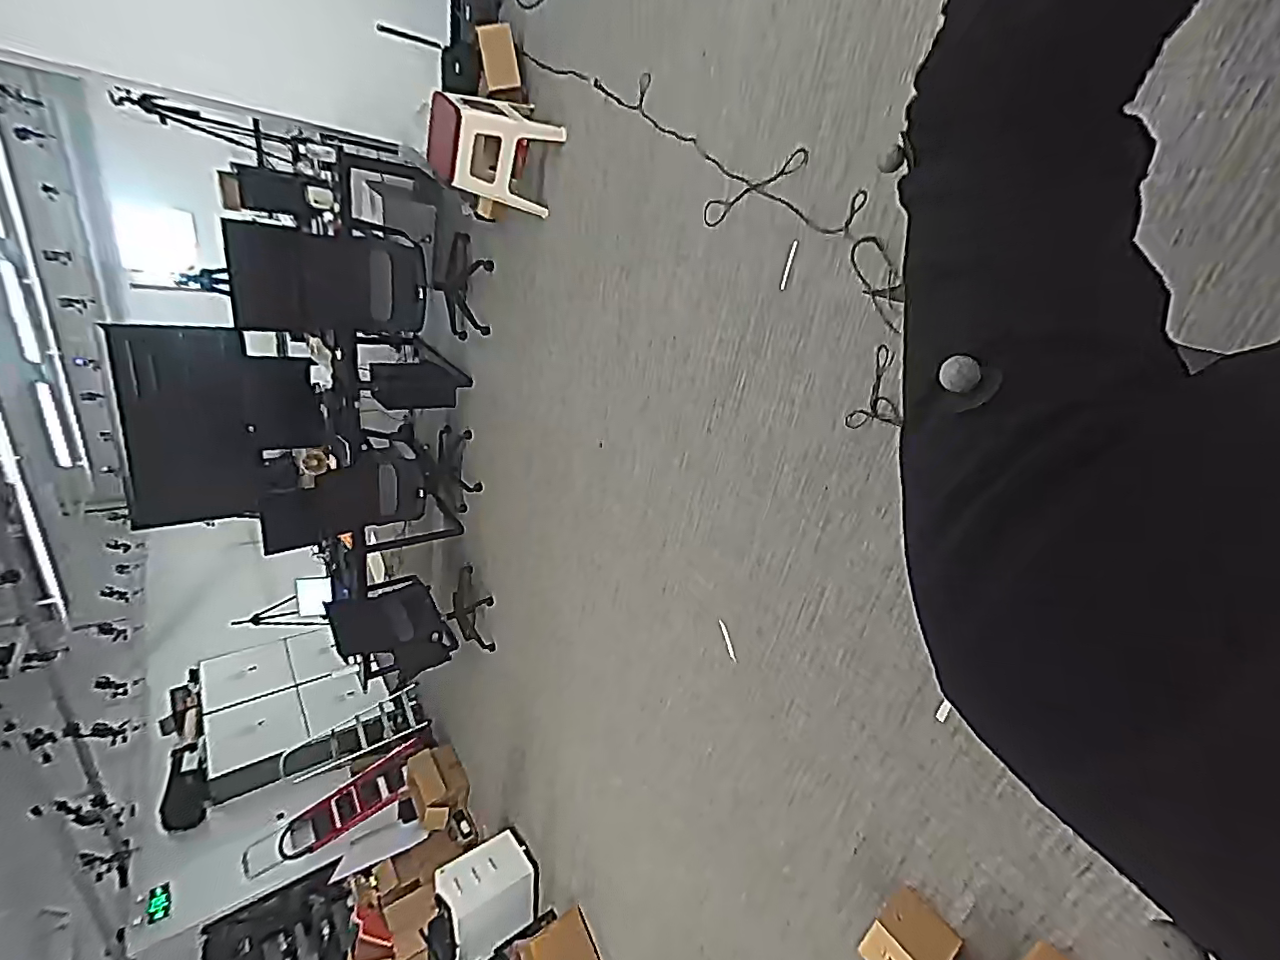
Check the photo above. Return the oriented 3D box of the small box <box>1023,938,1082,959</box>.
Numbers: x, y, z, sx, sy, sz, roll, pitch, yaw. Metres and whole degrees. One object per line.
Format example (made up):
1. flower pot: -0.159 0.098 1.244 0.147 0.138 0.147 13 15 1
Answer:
1. small box: 0.986 1.229 1.261 0.179 0.176 0.168 34 124 42
